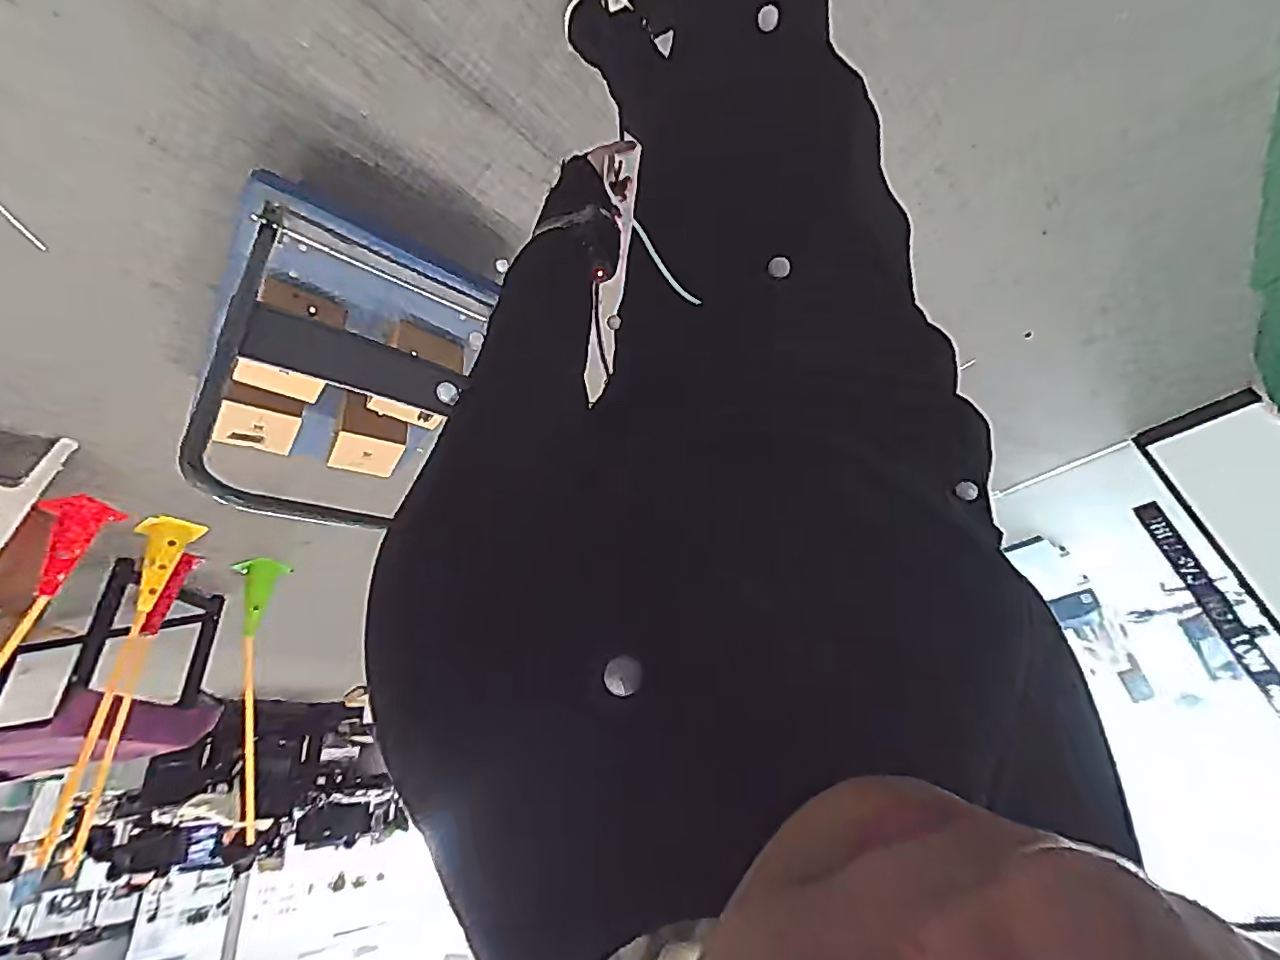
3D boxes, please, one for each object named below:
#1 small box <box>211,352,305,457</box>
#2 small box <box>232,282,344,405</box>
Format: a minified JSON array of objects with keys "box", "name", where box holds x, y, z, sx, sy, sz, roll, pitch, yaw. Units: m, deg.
[{"box":[-0.959,-0.188,1.372,0.168,0.176,0.179,15,140,-37],"name":"small box"},{"box":[-0.792,-0.307,1.230,0.168,0.176,0.179,19,138,-40],"name":"small box"}]
